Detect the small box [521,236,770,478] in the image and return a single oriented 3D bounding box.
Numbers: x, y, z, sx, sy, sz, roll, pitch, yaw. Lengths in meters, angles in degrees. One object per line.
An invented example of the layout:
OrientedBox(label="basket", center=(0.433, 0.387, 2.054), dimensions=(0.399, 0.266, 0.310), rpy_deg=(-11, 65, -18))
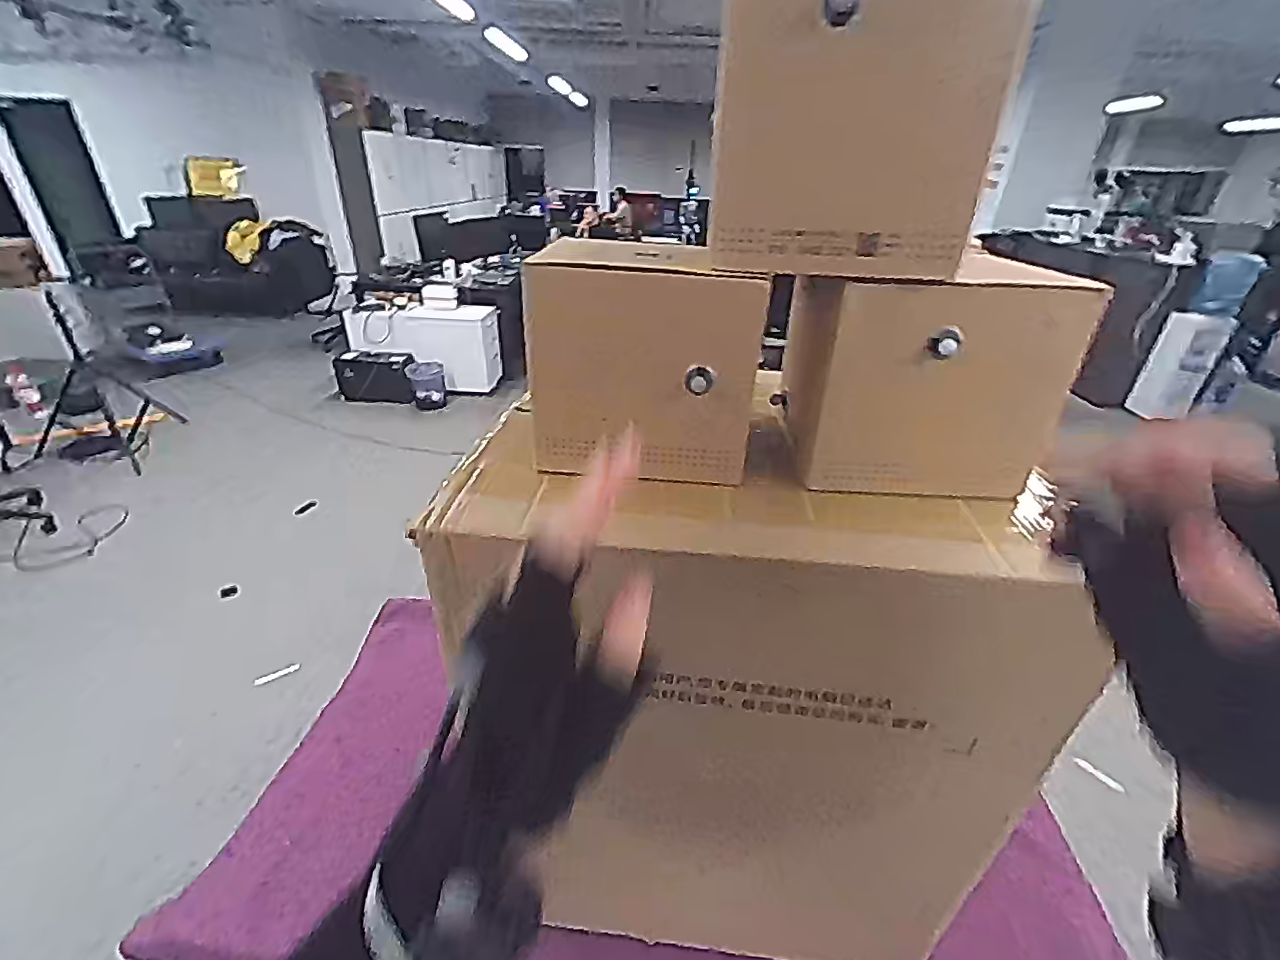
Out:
OrientedBox(label="small box", center=(0.004, -0.112, 0.479), dimensions=(0.179, 0.176, 0.168), rpy_deg=(3, 29, 1))

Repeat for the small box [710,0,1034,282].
OrientedBox(label="small box", center=(0.145, -0.250, 0.399), dimensions=(0.168, 0.176, 0.179), rpy_deg=(6, 29, 11))

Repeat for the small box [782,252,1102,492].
OrientedBox(label="small box", center=(0.227, -0.101, 0.470), dimensions=(0.179, 0.176, 0.168), rpy_deg=(3, 29, 2))
